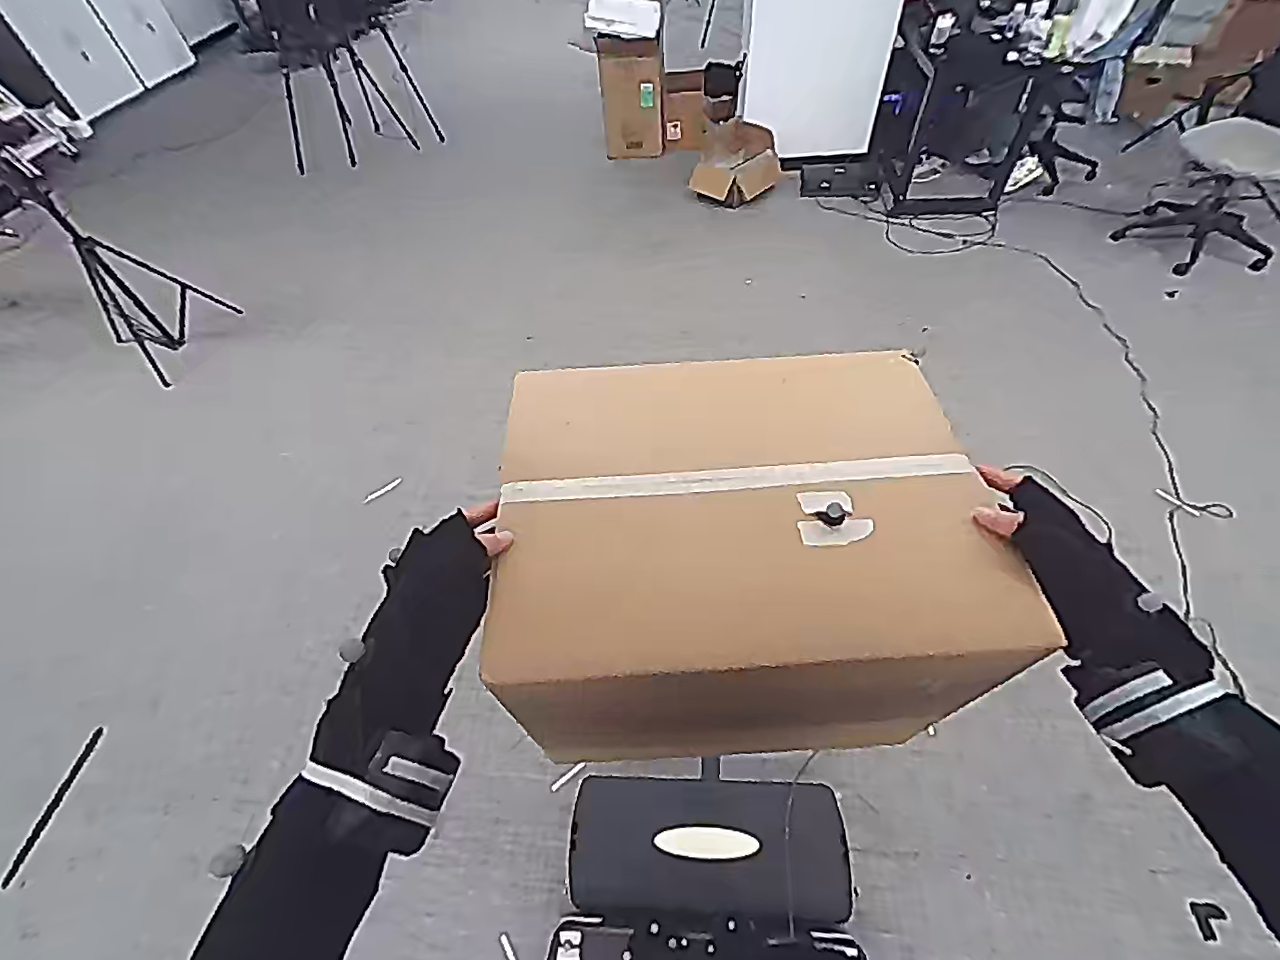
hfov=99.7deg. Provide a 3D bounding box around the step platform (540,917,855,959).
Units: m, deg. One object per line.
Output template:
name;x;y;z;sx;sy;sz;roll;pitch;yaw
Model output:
step platform;0.119;1.104;1.121;0.684;0.204;0.286;-2;52;5

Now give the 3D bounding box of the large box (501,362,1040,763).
large box;0.088;0.099;0.595;0.408;0.320;0.320;-4;53;-1
